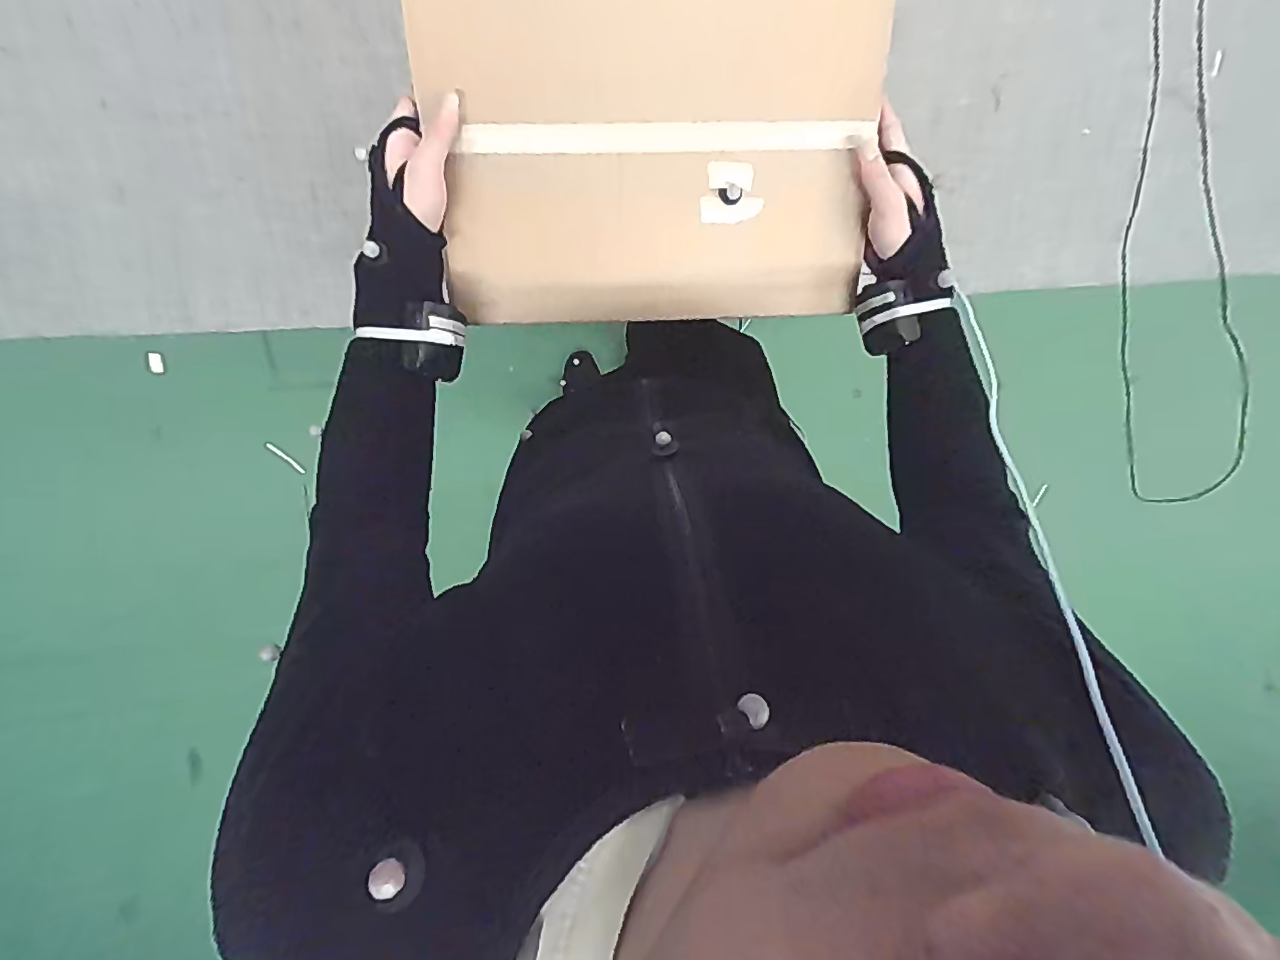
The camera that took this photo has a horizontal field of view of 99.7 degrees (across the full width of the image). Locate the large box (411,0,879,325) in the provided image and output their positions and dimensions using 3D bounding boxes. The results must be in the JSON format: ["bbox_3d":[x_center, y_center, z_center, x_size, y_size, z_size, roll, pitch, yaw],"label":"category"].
[{"bbox_3d":[-0.002,-0.366,0.629,0.408,0.320,0.320,-4,113,-5],"label":"large box"}]
